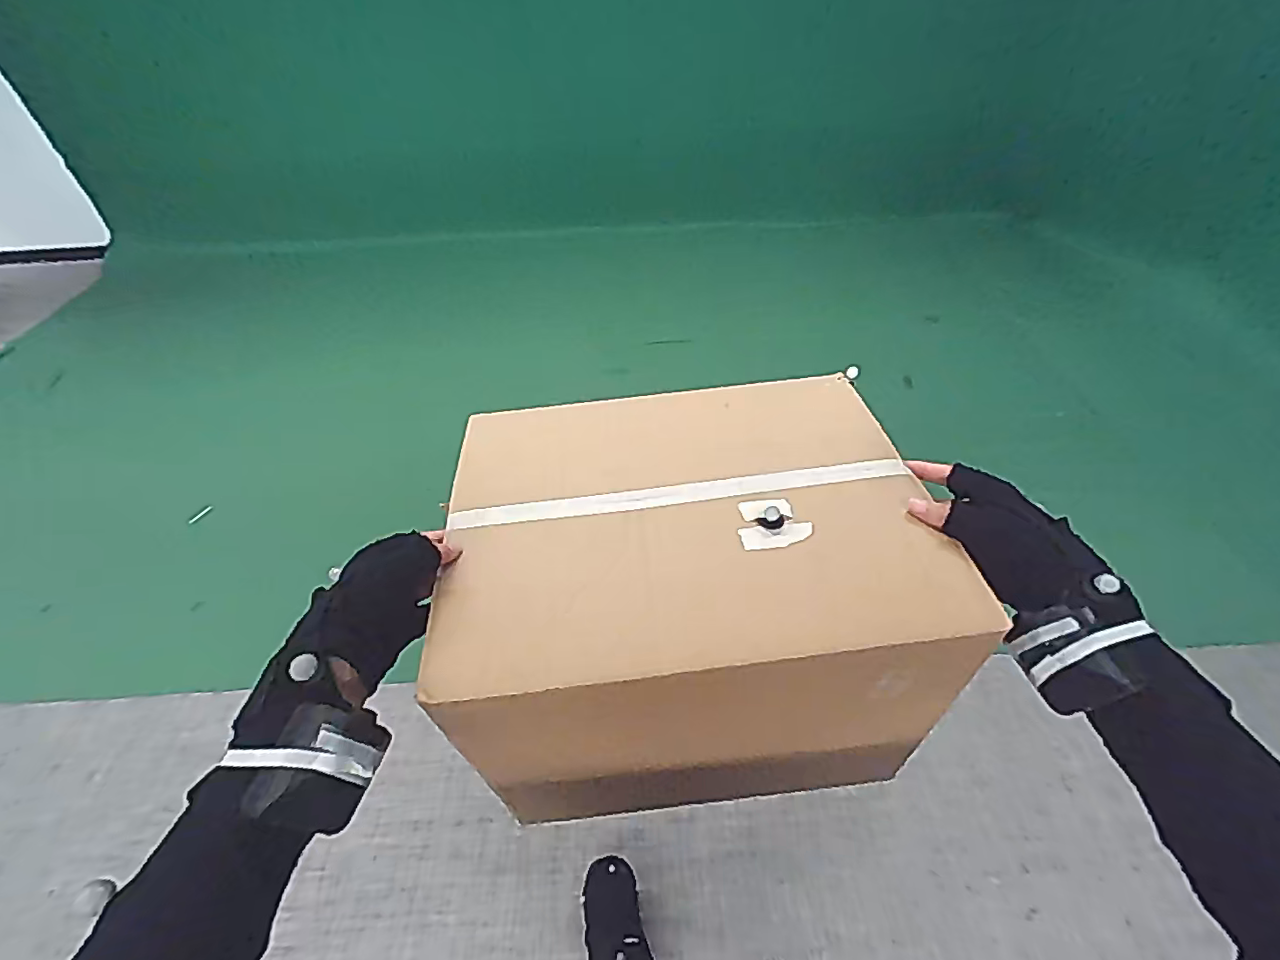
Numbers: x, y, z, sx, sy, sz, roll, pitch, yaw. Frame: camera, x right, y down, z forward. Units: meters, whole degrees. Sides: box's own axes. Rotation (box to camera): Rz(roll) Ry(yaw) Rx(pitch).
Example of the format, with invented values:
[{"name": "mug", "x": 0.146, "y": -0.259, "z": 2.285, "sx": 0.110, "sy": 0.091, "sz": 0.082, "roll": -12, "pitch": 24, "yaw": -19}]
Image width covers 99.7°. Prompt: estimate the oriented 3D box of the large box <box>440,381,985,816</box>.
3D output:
[{"name": "large box", "x": 0.047, "y": 0.127, "z": 0.590, "sx": 0.408, "sy": 0.320, "sz": 0.320, "roll": -7, "pitch": 45, "yaw": -1}]
